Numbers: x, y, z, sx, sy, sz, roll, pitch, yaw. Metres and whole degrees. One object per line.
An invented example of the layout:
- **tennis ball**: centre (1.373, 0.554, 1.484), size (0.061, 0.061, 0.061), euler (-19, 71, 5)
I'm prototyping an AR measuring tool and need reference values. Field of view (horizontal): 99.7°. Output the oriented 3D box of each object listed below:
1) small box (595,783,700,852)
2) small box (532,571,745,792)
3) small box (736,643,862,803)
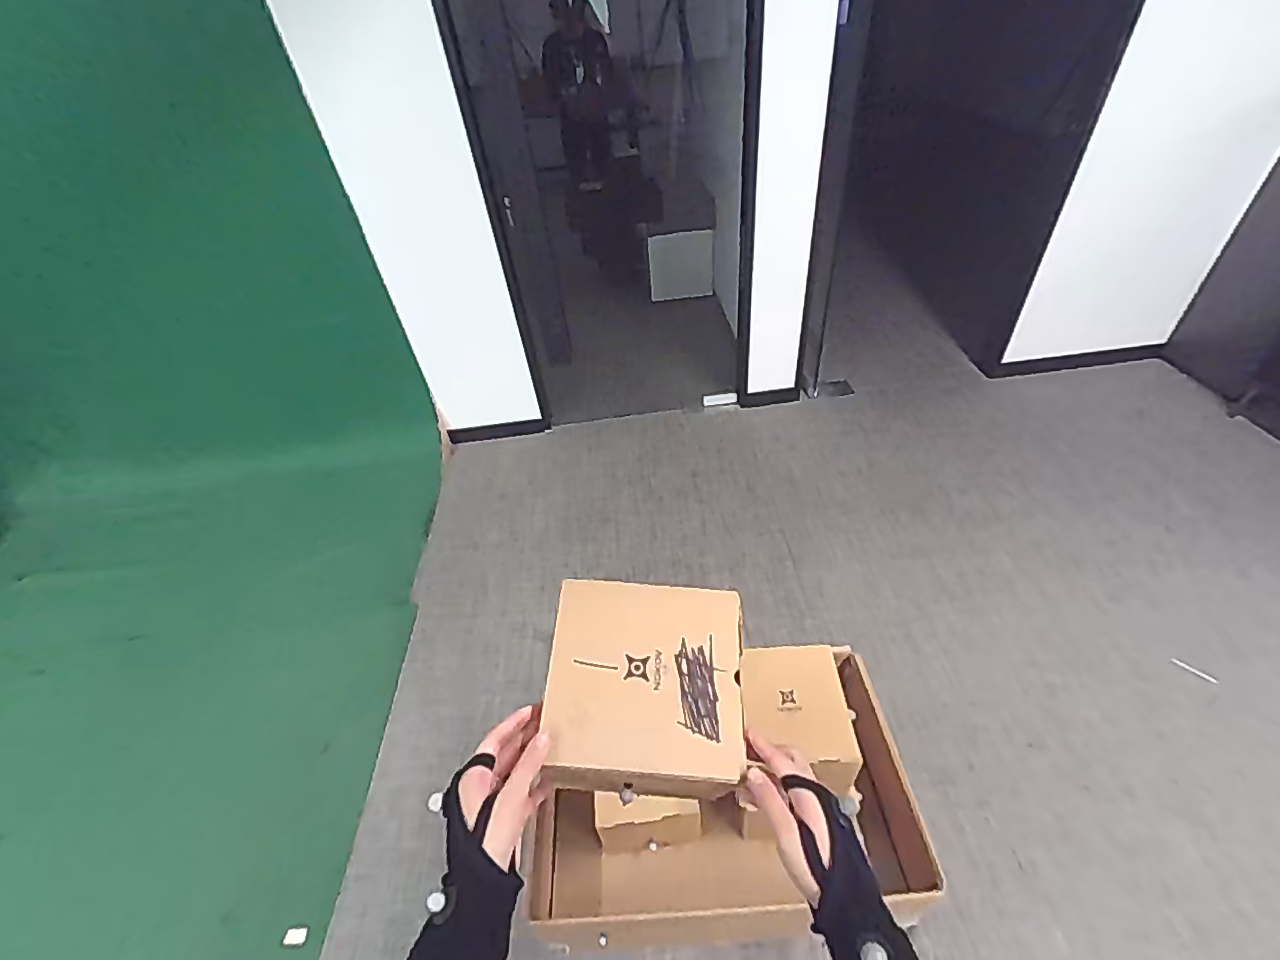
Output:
- **small box**: centre (0.010, 0.523, 0.952), size (0.168, 0.176, 0.179), euler (-8, 42, -1)
- **small box**: centre (0.001, 0.209, 0.546), size (0.179, 0.176, 0.168), euler (5, 54, 0)
- **small box**: centre (0.226, 0.377, 0.843), size (0.168, 0.176, 0.179), euler (-5, 42, 4)
